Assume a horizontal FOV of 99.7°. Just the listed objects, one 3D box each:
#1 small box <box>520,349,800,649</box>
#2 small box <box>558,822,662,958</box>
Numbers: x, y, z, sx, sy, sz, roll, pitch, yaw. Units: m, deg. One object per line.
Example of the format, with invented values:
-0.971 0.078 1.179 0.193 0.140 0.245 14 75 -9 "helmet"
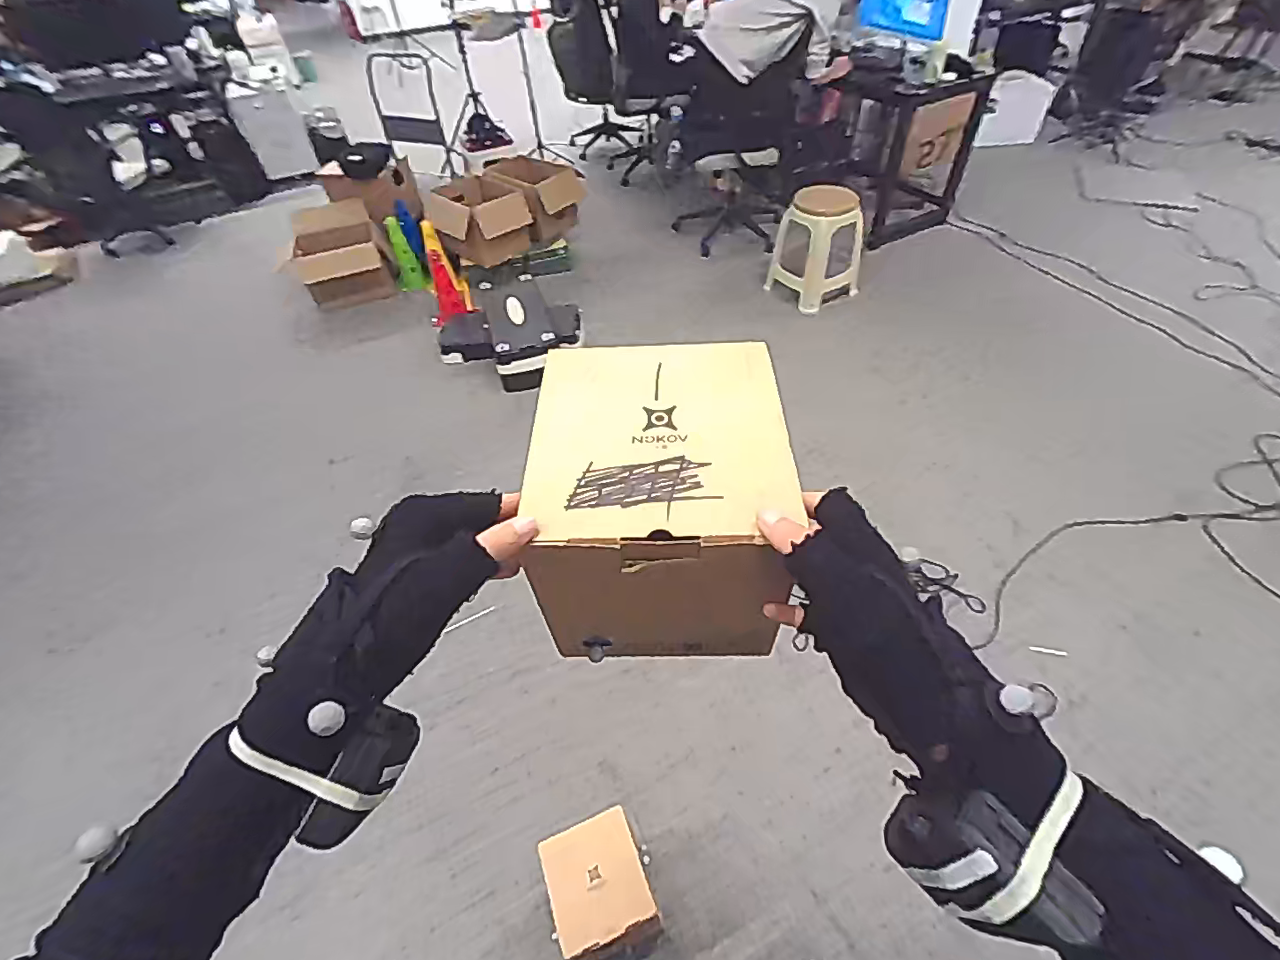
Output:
0.018 0.022 0.421 0.168 0.176 0.179 -1 51 3 "small box"
-0.060 0.853 1.124 0.168 0.176 0.179 -19 49 -11 "small box"
